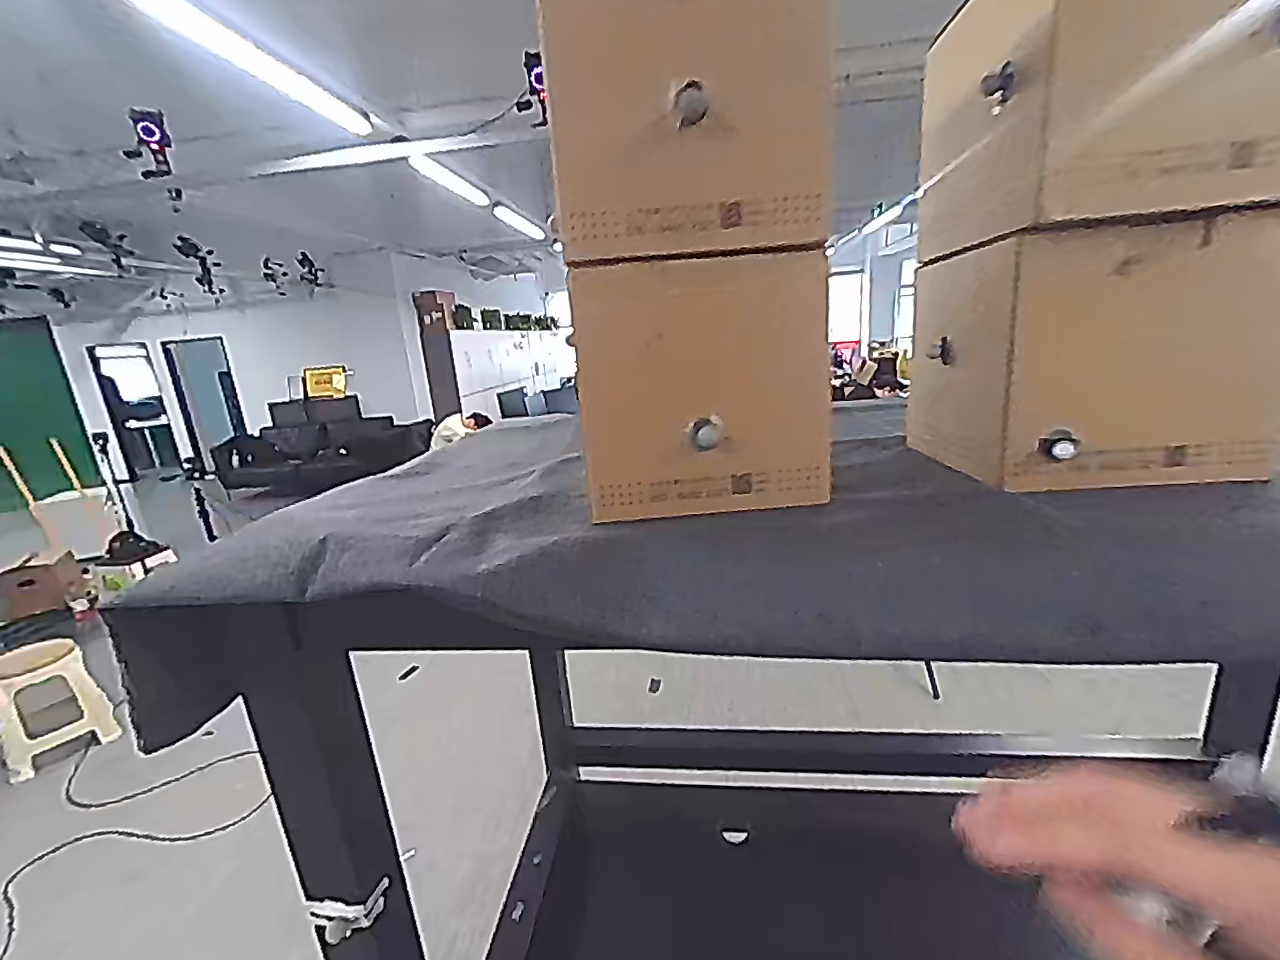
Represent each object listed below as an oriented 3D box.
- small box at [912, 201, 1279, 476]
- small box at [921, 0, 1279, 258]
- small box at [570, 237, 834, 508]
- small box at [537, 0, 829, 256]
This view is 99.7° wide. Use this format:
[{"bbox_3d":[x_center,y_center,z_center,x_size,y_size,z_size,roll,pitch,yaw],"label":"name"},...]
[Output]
[{"bbox_3d":[0.326,-0.099,0.415,0.168,0.176,0.179,-3,13,7],"label":"small box"},{"bbox_3d":[0.310,-0.253,0.363,0.168,0.176,0.179,-2,13,5],"label":"small box"},{"bbox_3d":[0.041,-0.081,0.429,0.168,0.176,0.179,-5,14,0],"label":"small box"},{"bbox_3d":[0.029,-0.240,0.385,0.168,0.176,0.179,-3,14,1],"label":"small box"}]
